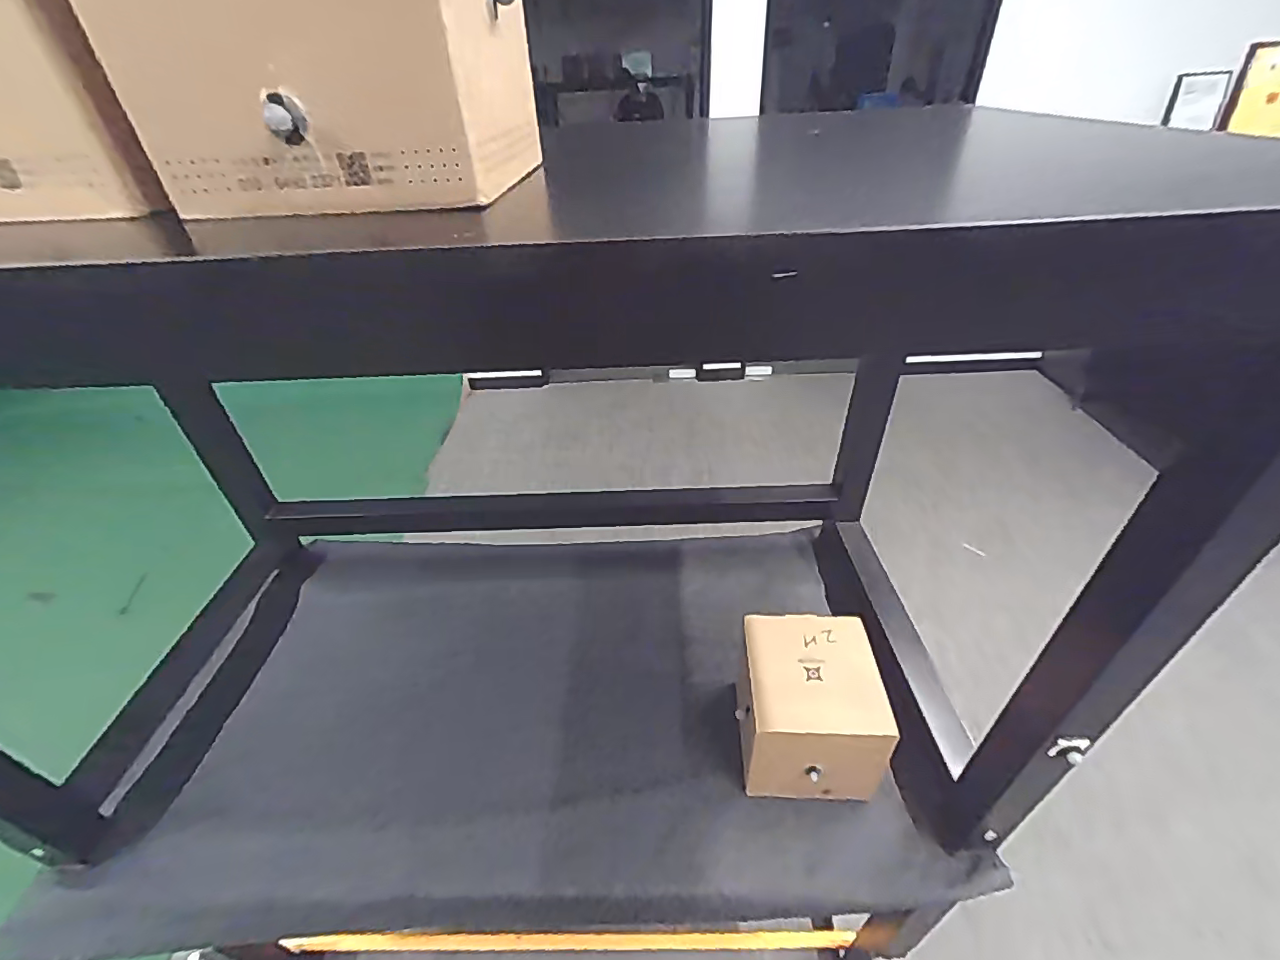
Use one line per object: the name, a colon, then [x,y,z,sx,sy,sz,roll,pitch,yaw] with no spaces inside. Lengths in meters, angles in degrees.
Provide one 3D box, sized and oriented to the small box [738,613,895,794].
small box: [0.227,0.308,0.747,0.168,0.176,0.179,1,37,4]
